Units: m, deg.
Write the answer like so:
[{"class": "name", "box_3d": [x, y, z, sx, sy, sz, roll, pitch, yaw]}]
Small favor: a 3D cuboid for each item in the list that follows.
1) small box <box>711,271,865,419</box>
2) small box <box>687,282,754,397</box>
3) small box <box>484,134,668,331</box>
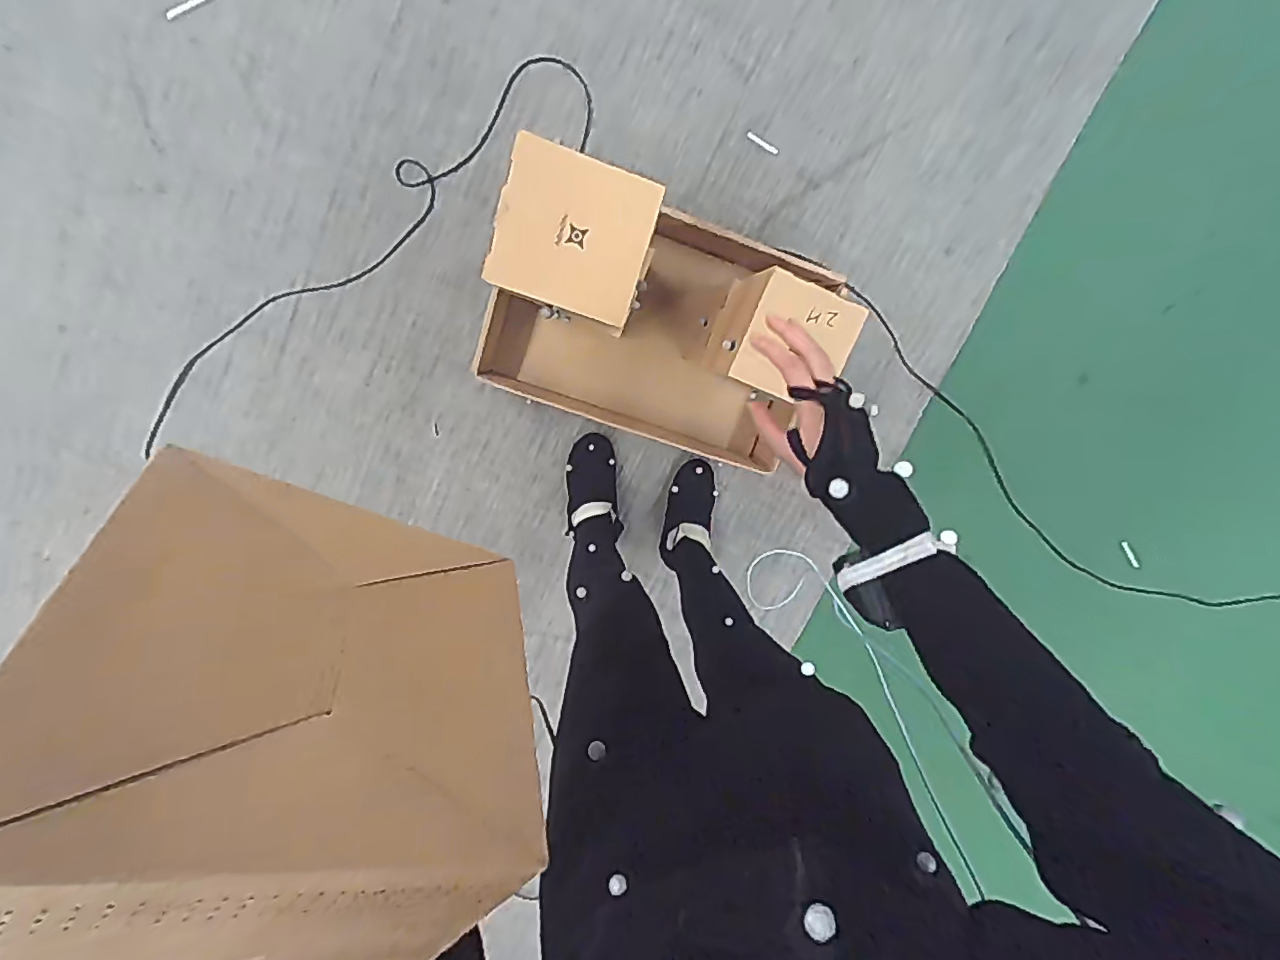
[{"class": "small box", "box_3d": [0.233, -0.221, 0.905, 0.168, 0.176, 0.179, 22, 100, -10]}, {"class": "small box", "box_3d": [0.207, -0.264, 1.062, 0.179, 0.176, 0.168, 22, 100, -9]}, {"class": "small box", "box_3d": [-0.079, -0.301, 0.697, 0.179, 0.176, 0.168, 17, 103, -7]}]
